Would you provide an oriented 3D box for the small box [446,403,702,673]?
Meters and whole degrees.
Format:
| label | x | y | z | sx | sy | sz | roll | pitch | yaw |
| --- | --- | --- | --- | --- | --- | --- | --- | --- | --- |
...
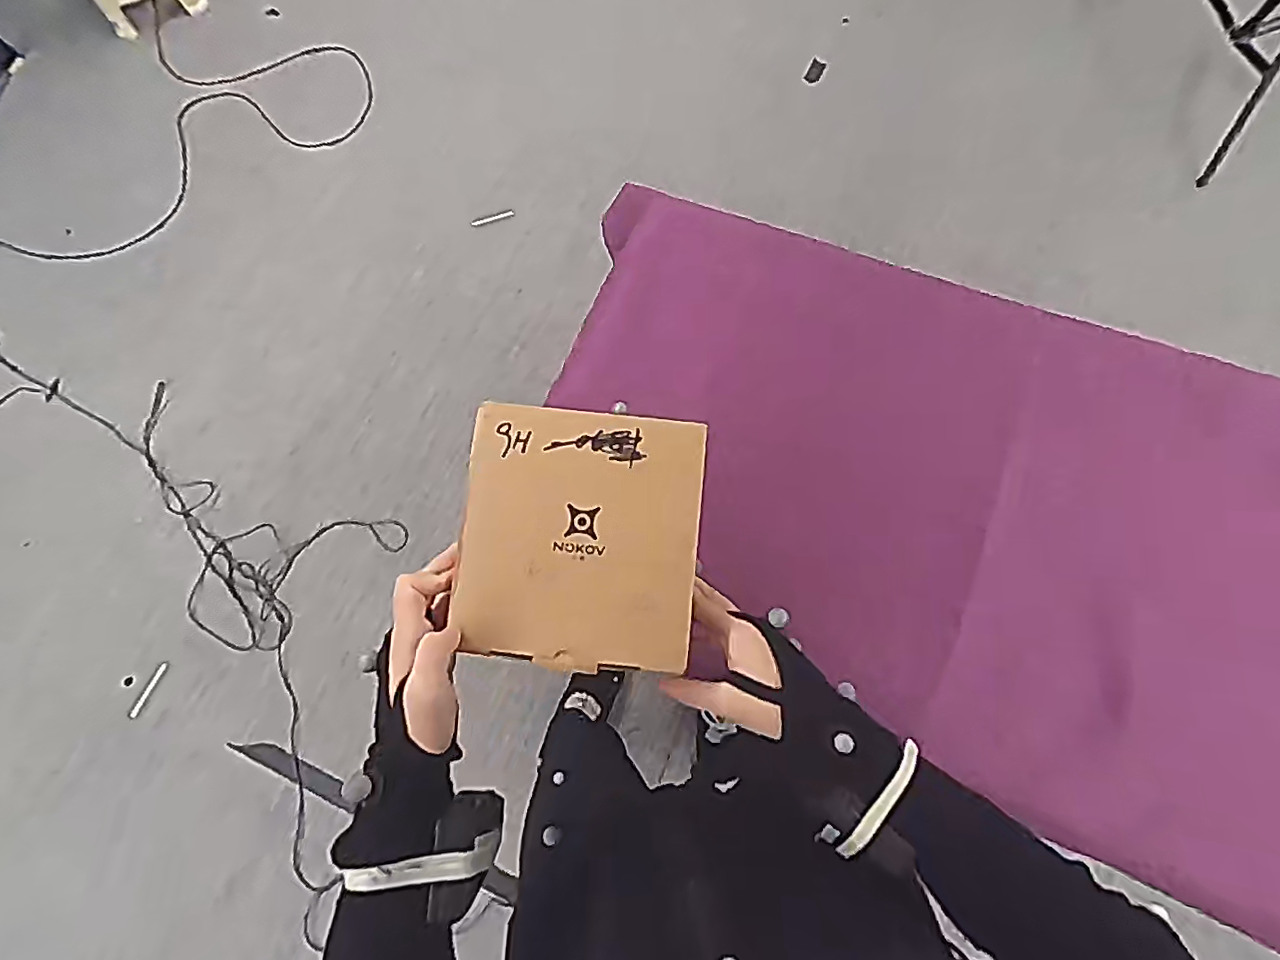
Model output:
| label | x | y | z | sx | sy | sz | roll | pitch | yaw |
| --- | --- | --- | --- | --- | --- | --- | --- | --- | --- |
| small box | -0.046 | 0.046 | 0.459 | 0.168 | 0.176 | 0.179 | 6 | 85 | -1 |
